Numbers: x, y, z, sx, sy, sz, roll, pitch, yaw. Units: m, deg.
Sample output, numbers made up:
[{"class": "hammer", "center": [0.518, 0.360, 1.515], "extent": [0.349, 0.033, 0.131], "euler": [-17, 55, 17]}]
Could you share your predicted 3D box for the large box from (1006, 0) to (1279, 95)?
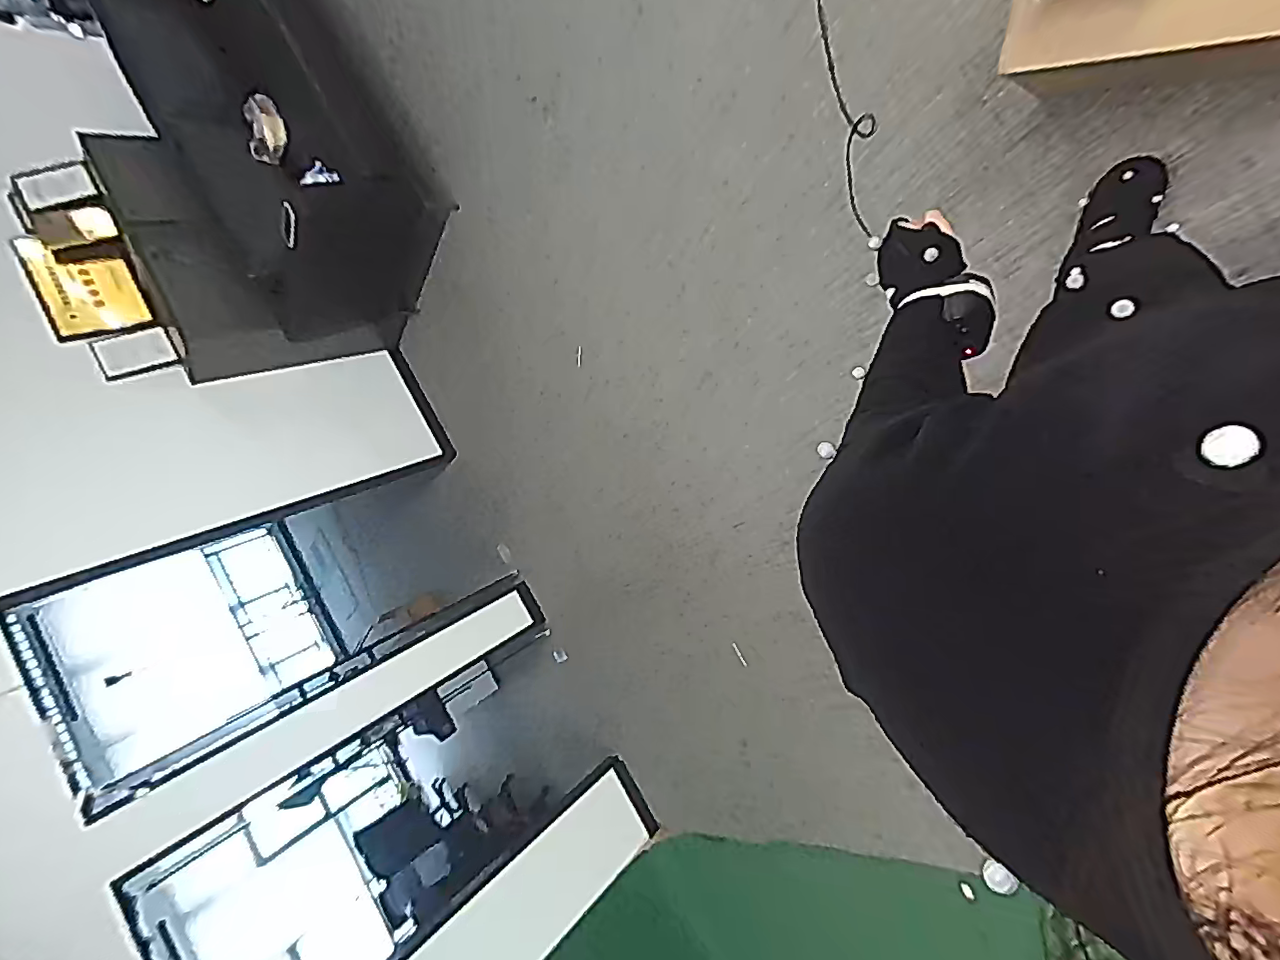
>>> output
[{"class": "large box", "center": [0.833, -0.792, 0.787], "extent": [0.408, 0.320, 0.320], "euler": [22, 125, 37]}]
